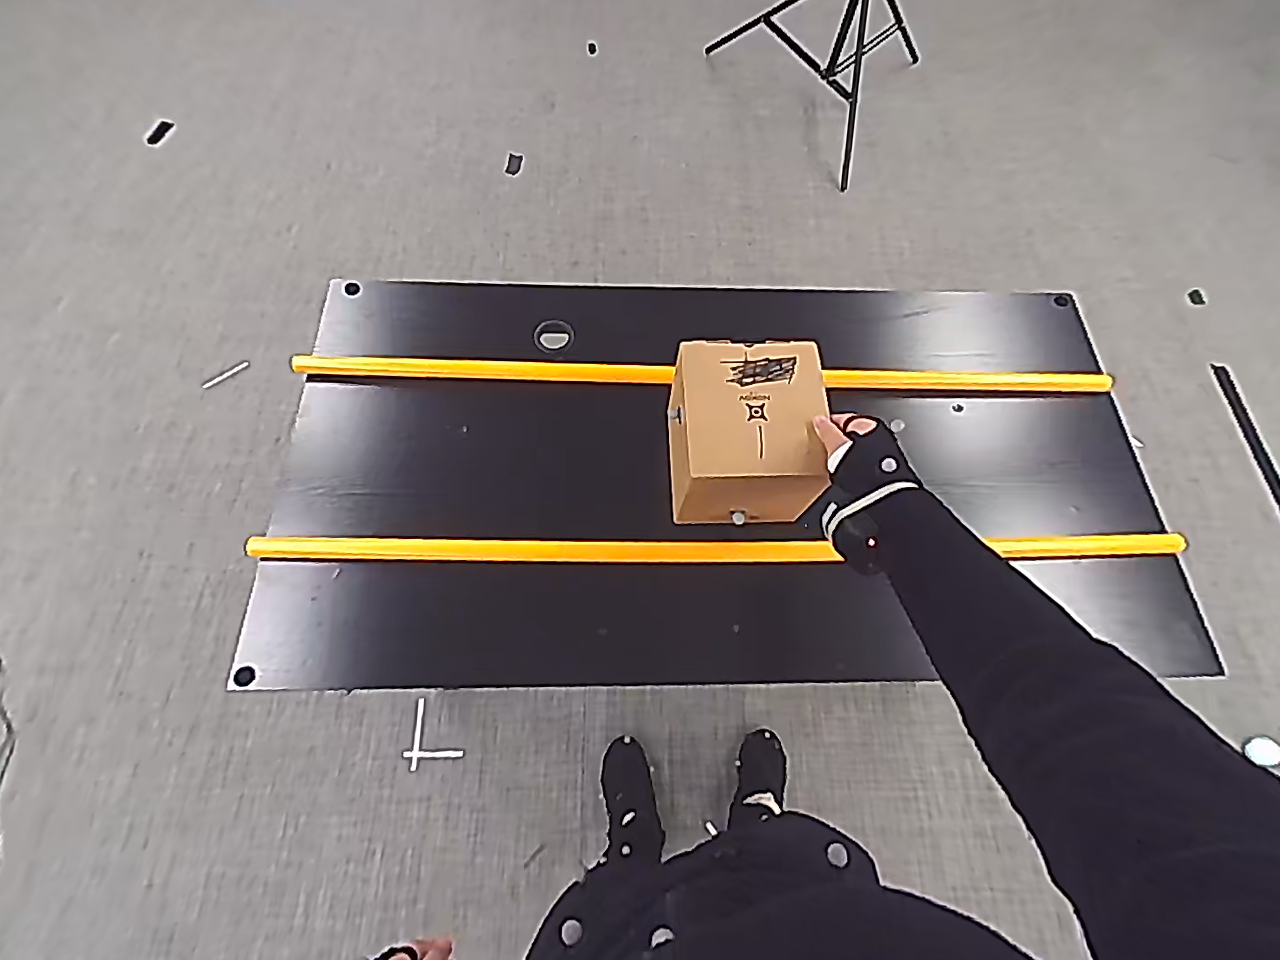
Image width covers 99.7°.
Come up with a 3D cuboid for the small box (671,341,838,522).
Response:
[{"bbox_3d":[0.130,-0.056,0.688,0.168,0.176,0.179,-1,68,-2],"label":"small box"}]
